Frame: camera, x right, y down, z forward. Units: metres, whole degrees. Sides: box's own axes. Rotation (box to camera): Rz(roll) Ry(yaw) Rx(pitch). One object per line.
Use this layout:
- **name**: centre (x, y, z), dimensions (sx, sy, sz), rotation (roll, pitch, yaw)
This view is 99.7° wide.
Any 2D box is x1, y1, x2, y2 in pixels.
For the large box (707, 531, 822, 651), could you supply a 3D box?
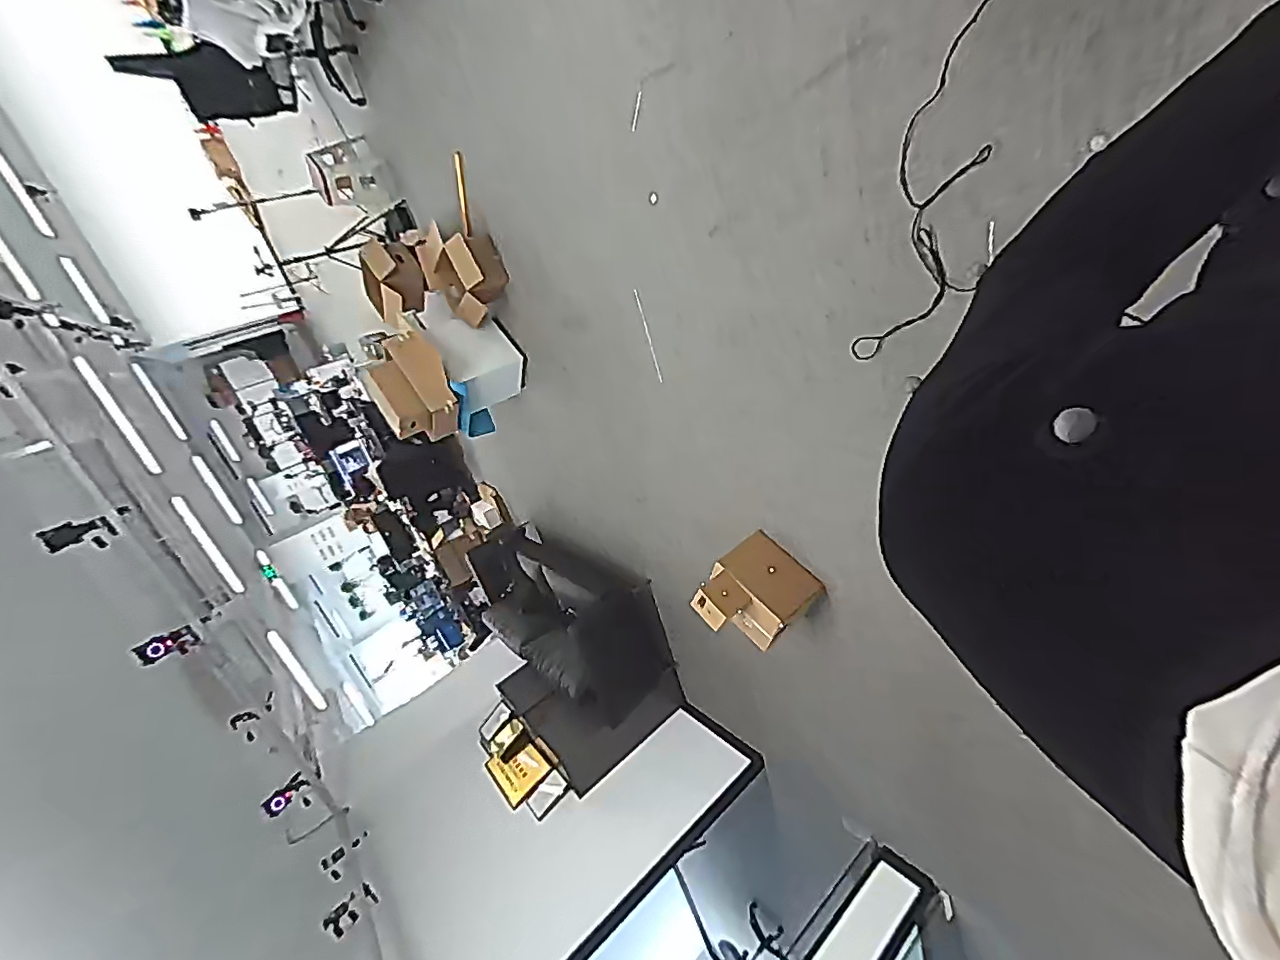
- **large box**: centre (0.591, 0.528, 2.615), dimensions (0.408, 0.320, 0.320), rotation (41, 148, 27)
